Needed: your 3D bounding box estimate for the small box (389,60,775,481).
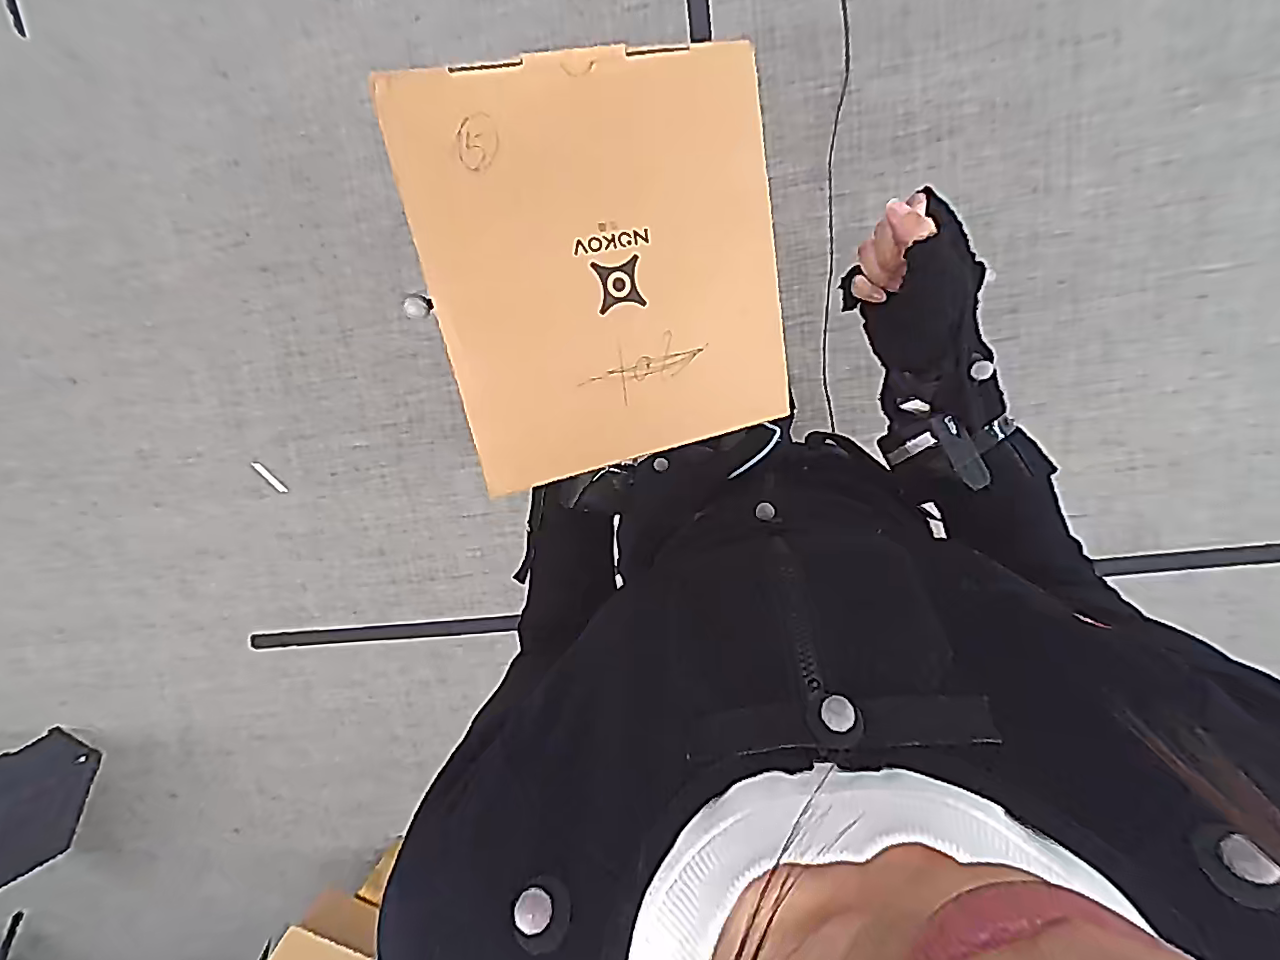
[{"bbox_3d":[-0.038,-0.119,0.337,0.168,0.176,0.179,-16,109,-13],"label":"small box"}]
